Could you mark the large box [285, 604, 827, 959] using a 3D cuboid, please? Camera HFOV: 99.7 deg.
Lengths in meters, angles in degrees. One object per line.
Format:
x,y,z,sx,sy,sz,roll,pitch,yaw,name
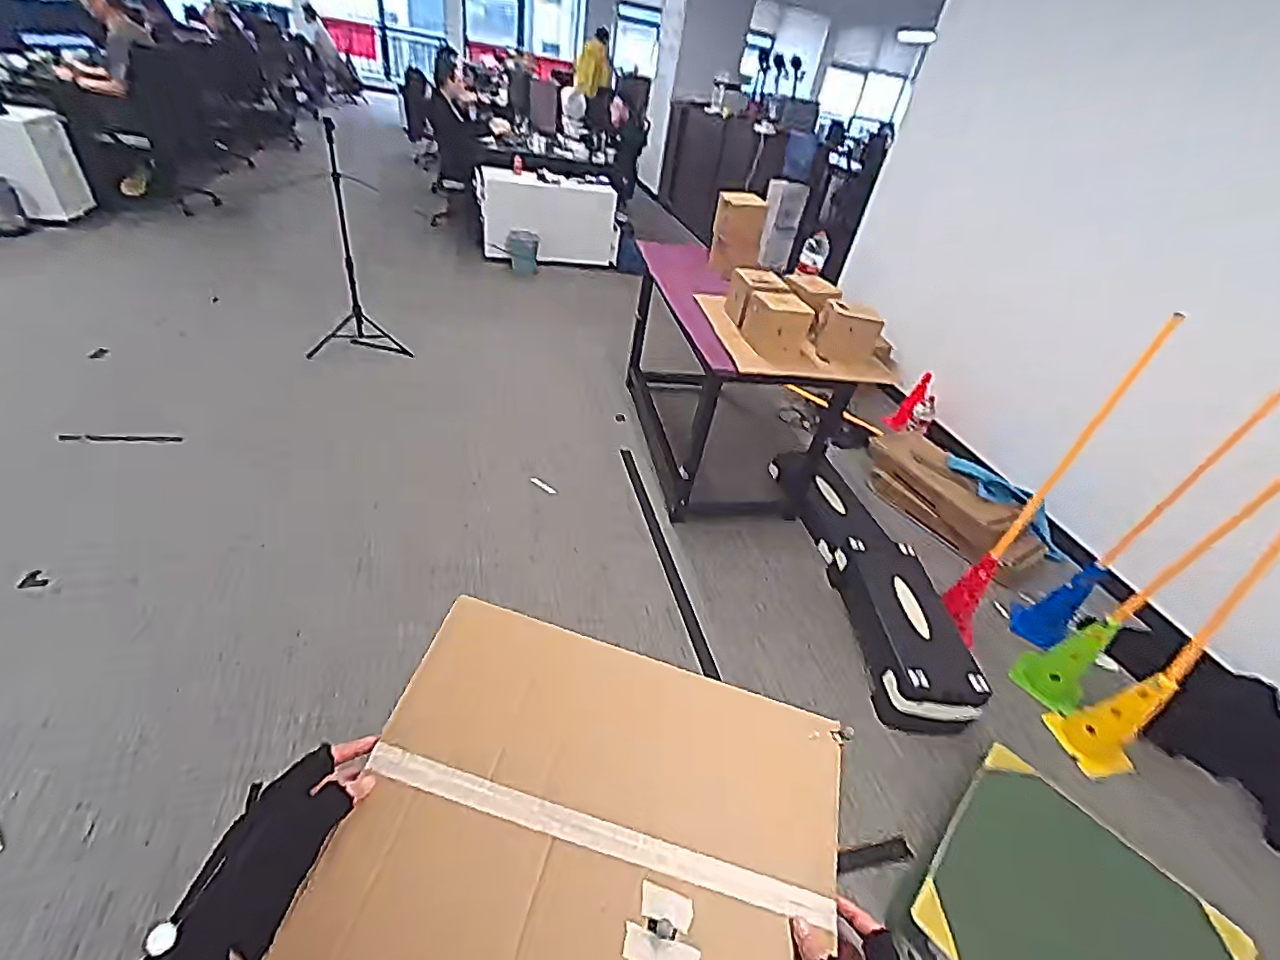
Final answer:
-0.060,0.388,0.585,0.408,0.320,0.320,18,52,2,large box
